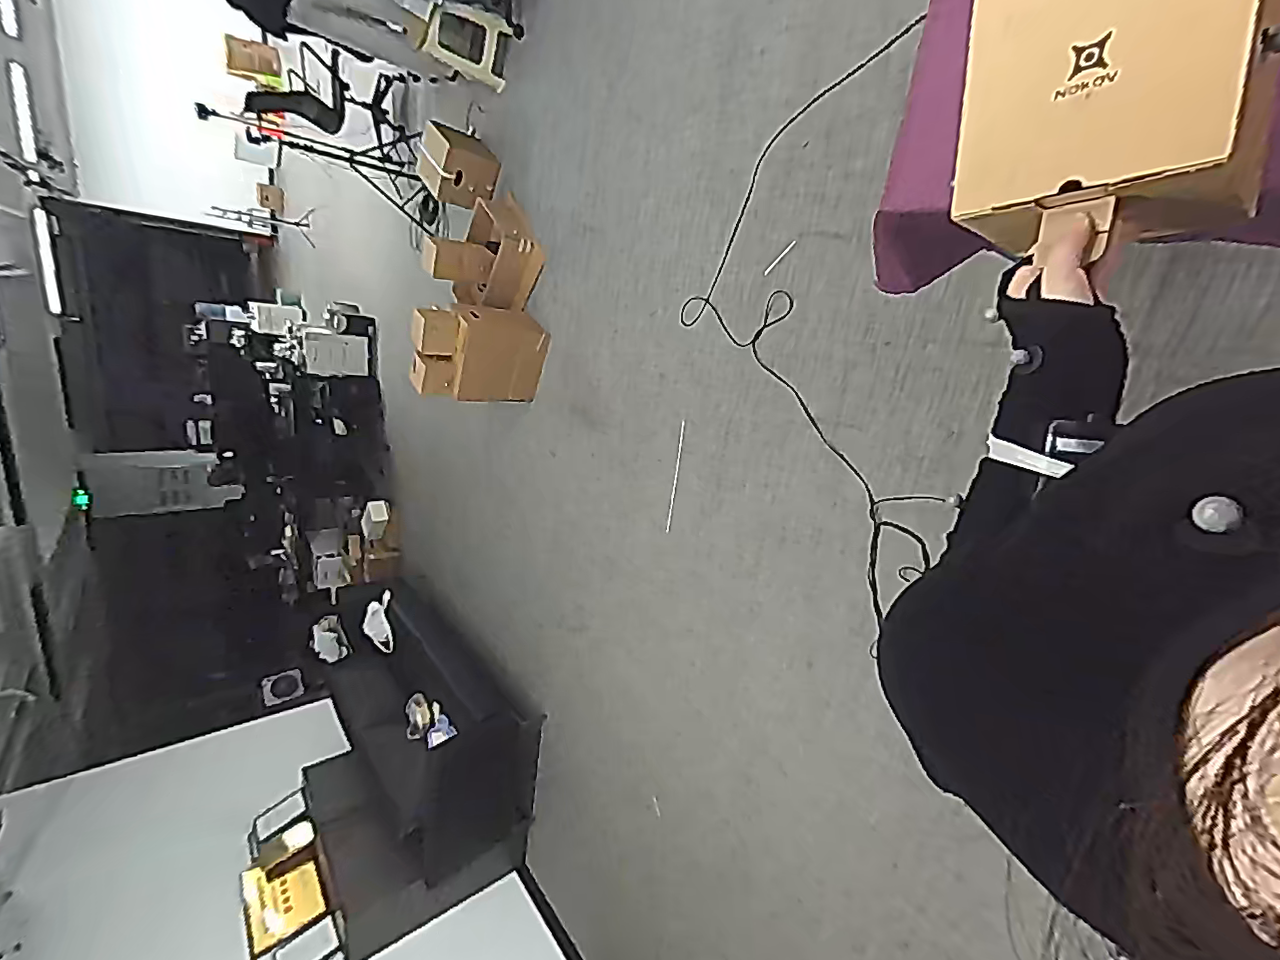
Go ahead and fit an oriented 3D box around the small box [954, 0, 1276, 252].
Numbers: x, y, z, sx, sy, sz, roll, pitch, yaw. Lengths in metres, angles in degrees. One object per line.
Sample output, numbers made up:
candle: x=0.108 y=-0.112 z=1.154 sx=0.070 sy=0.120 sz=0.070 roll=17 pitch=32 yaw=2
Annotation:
small box: x=0.393 y=-0.309 z=0.453 sx=0.168 sy=0.176 sz=0.179 roll=13 pitch=105 yaw=50
